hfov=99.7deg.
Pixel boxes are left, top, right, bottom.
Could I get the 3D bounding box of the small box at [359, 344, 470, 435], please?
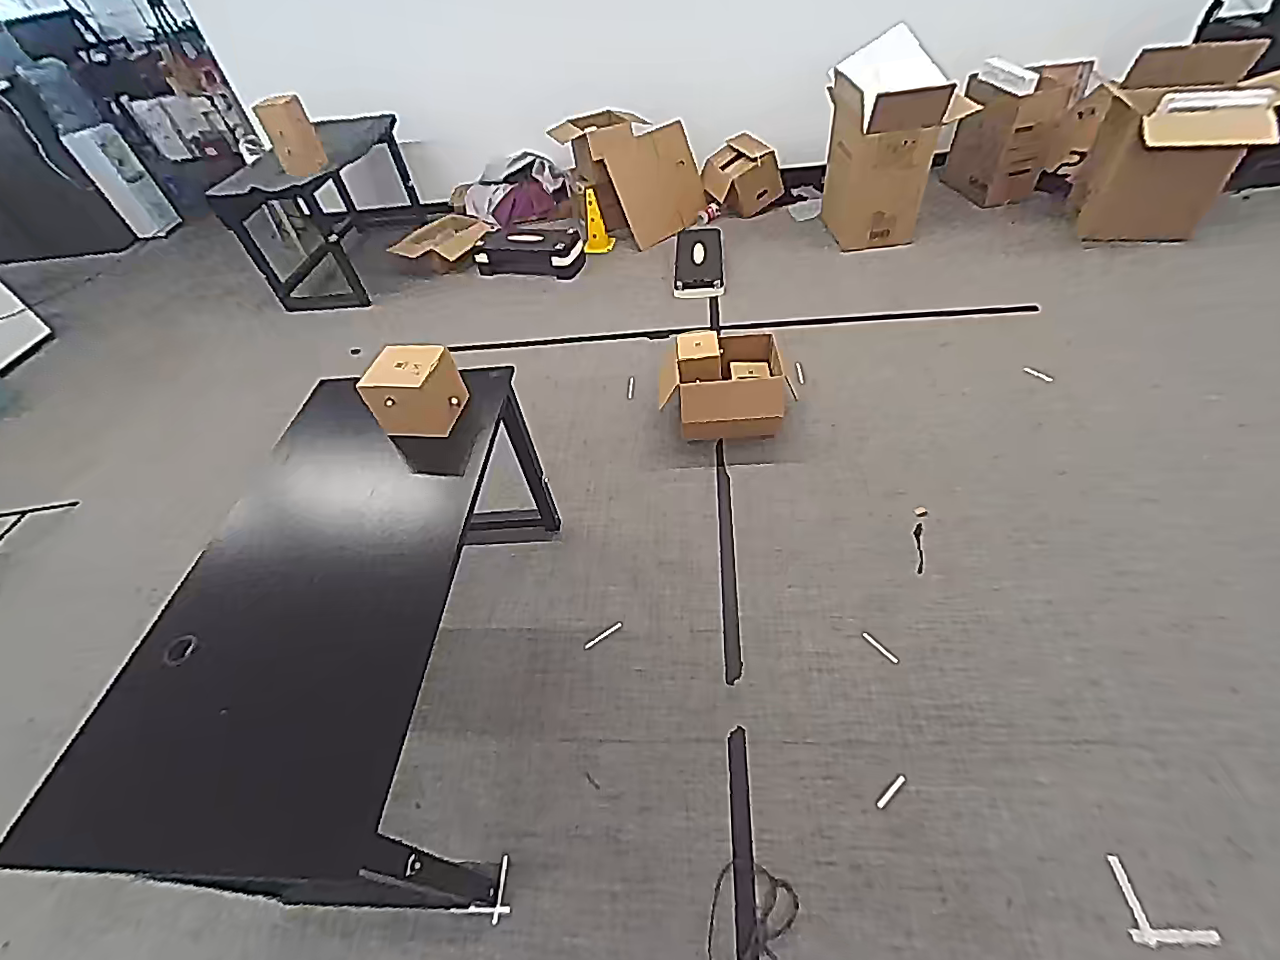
[{"bbox_3d":[-0.570,-0.231,1.389,0.179,0.176,0.168,3,50,11],"label":"small box"}]
